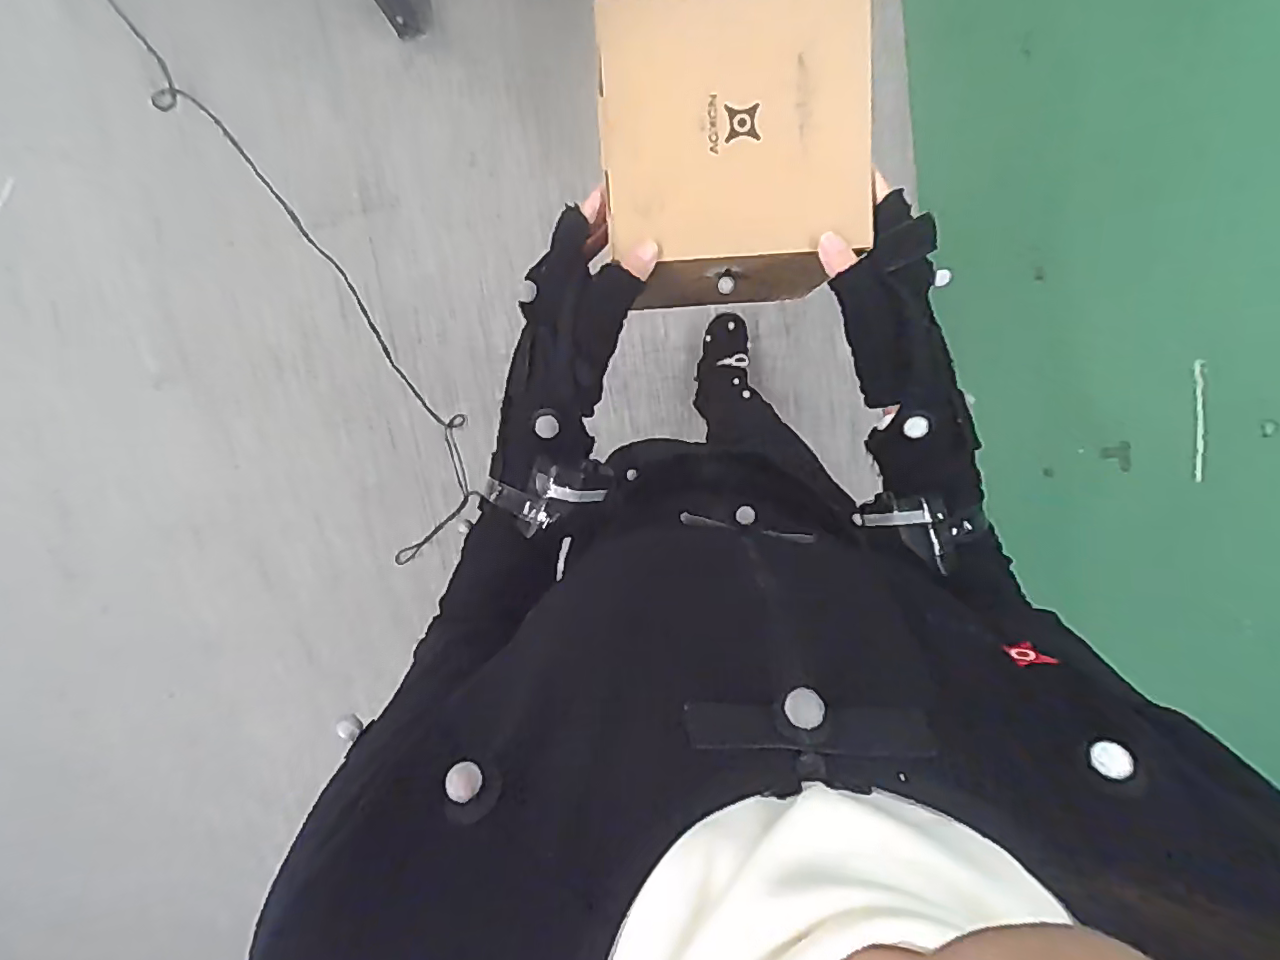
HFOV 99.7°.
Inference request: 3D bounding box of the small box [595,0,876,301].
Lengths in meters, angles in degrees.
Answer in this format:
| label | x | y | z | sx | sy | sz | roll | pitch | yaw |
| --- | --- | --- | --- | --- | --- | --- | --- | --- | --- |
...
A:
| label | x | y | z | sx | sy | sz | roll | pitch | yaw |
| --- | --- | --- | --- | --- | --- | --- | --- | --- | --- |
| small box | 0.065 | -0.246 | 0.429 | 0.179 | 0.176 | 0.168 | -5 | 98 | 1 |
